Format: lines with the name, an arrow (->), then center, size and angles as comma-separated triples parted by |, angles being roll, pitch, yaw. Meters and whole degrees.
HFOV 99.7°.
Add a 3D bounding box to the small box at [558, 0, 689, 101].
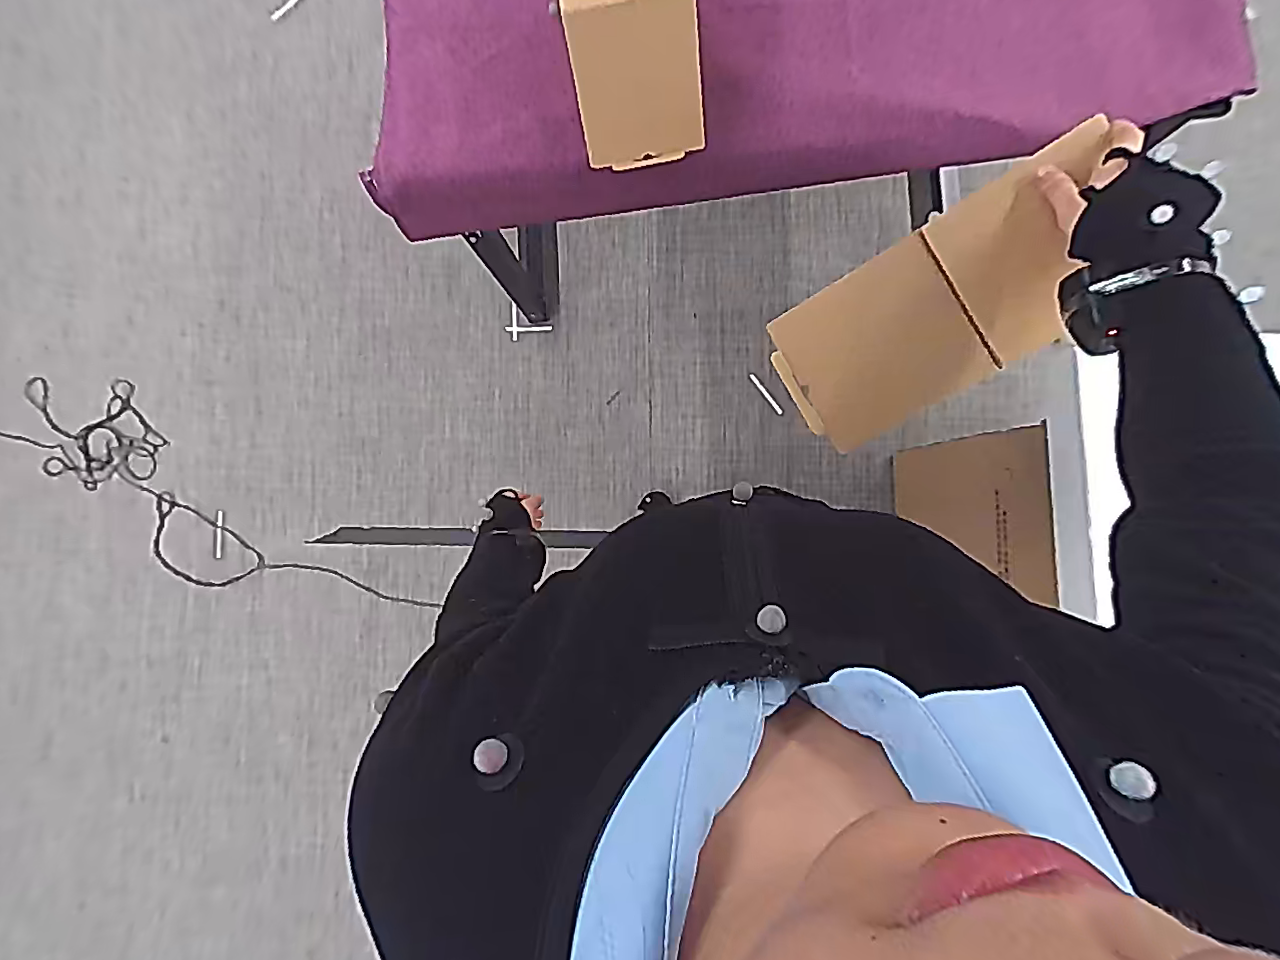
small box -> -0.023, -0.656, 0.737 | 0.168, 0.176, 0.179 | -8, 85, 2
